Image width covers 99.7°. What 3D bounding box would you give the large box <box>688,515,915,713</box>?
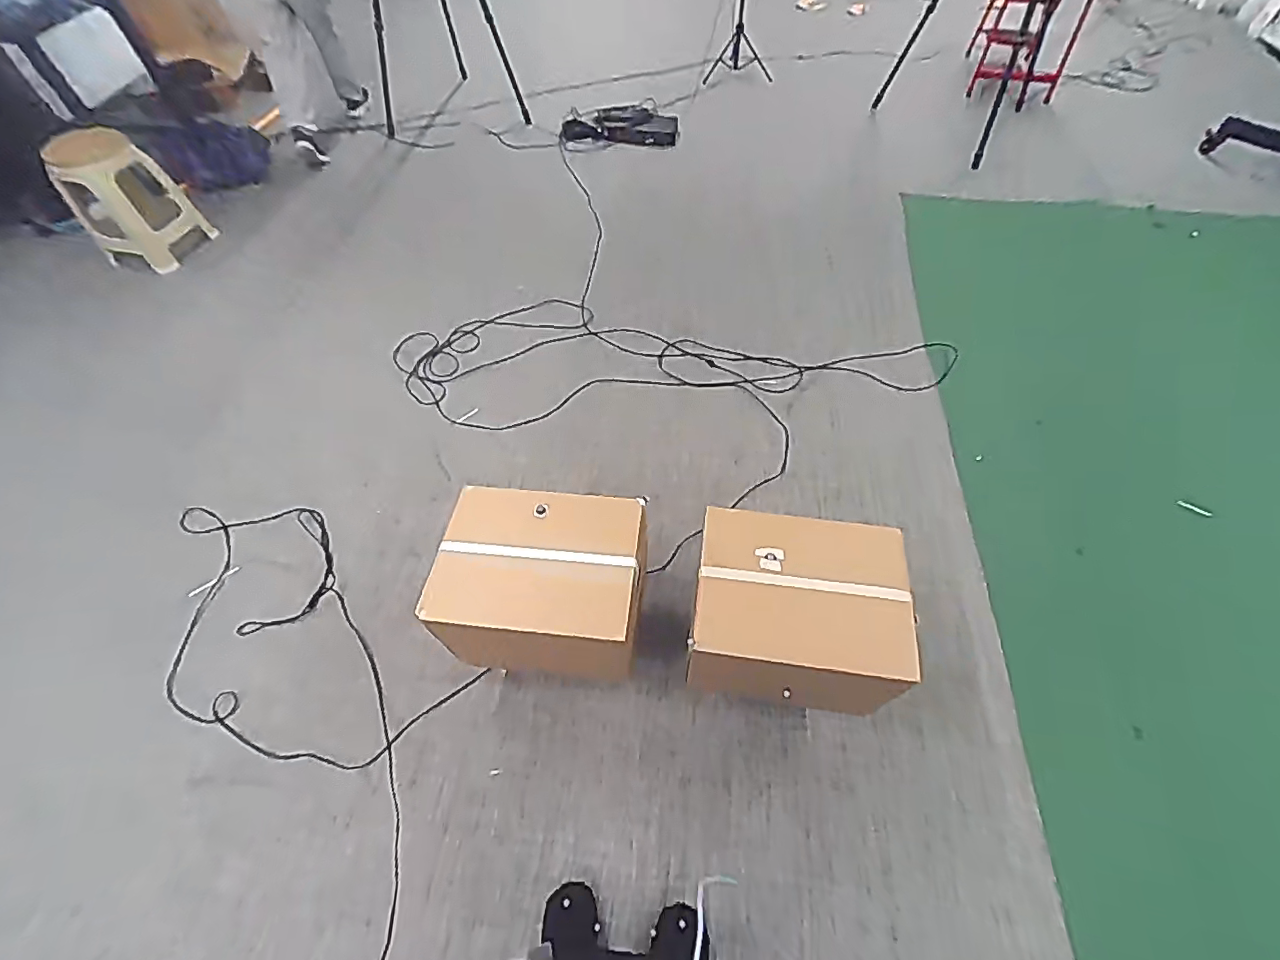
[{"bbox_3d":[0.326,0.302,1.191,0.408,0.320,0.320,6,56,7],"label":"large box"}]
